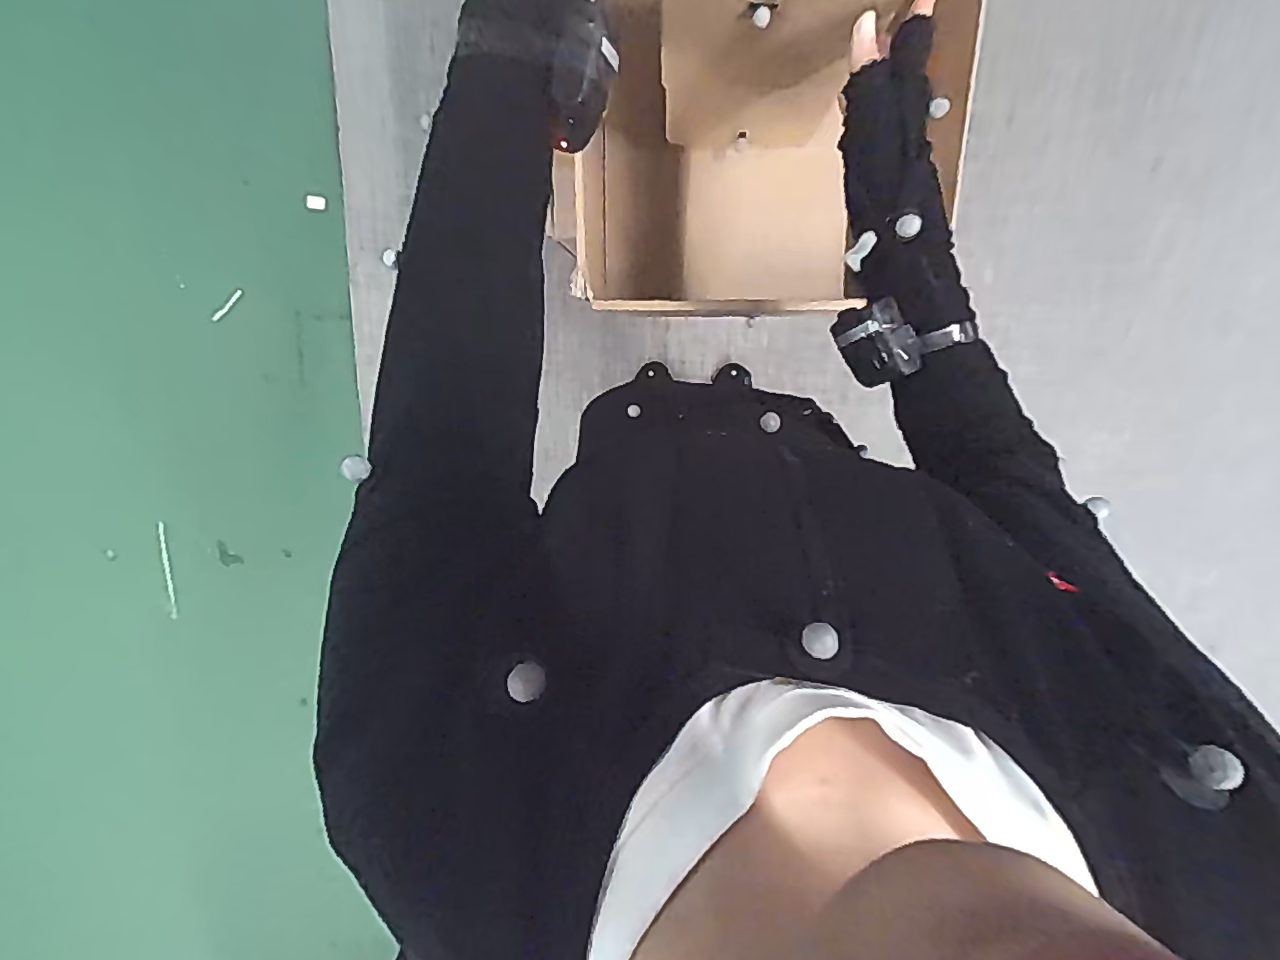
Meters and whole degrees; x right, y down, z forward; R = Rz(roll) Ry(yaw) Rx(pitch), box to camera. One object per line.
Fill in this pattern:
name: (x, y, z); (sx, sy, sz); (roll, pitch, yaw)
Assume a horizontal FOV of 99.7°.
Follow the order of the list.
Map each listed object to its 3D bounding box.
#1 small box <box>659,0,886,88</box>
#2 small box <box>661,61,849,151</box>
small box: (0.105, -0.433, 0.415); (0.179, 0.176, 0.168); (3, 102, 1)
small box: (0.112, -0.472, 0.575); (0.179, 0.176, 0.168); (1, 101, 2)
